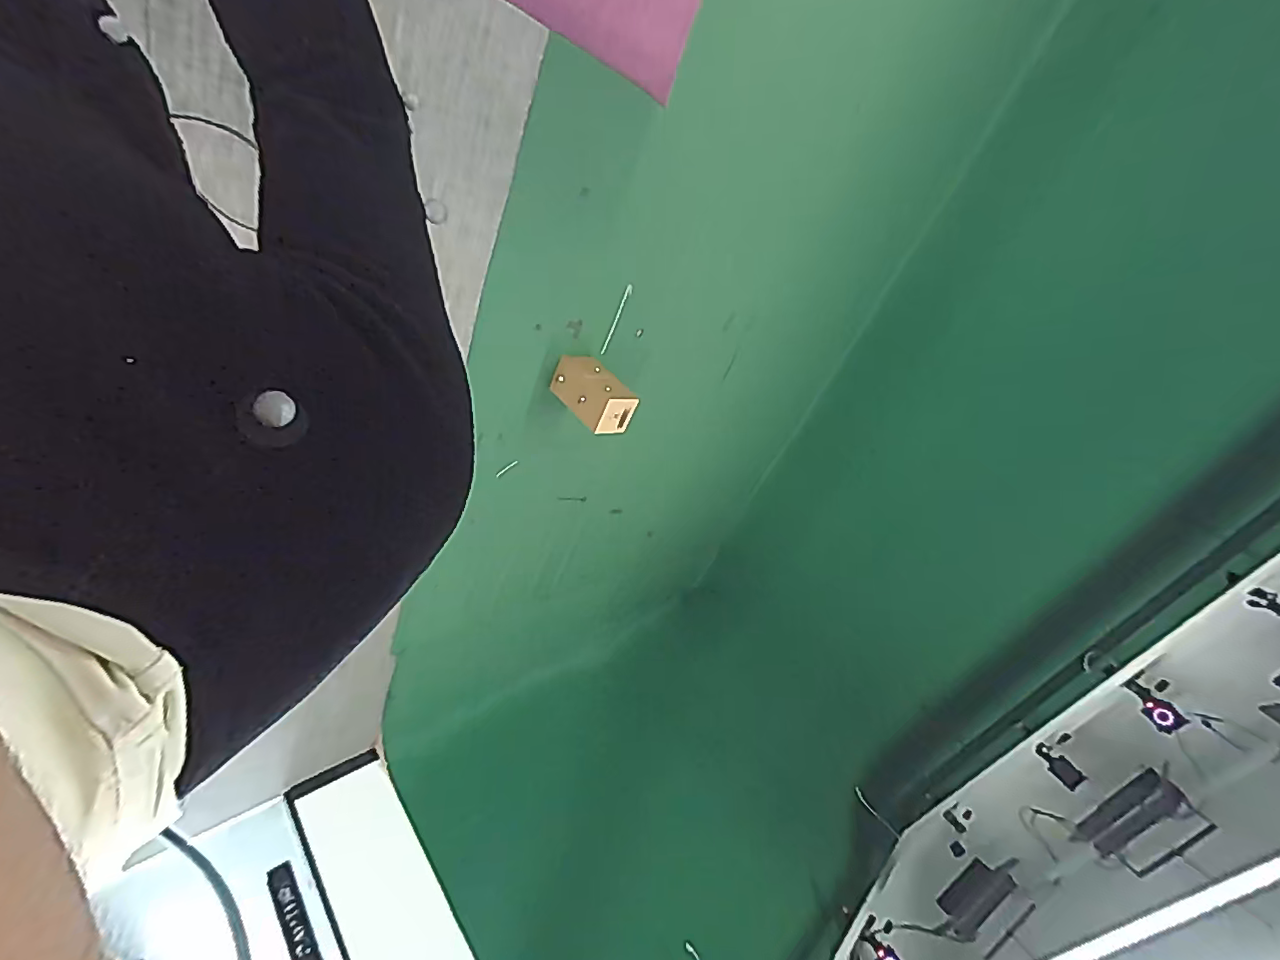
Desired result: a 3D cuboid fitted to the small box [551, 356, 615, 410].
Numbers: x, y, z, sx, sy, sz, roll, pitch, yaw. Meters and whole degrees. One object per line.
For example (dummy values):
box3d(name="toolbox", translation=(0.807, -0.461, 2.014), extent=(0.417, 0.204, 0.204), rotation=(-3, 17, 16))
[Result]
box3d(name="small box", translation=(-0.243, -0.413, 2.297), extent=(0.179, 0.176, 0.168), rotation=(-8, 134, -48))
